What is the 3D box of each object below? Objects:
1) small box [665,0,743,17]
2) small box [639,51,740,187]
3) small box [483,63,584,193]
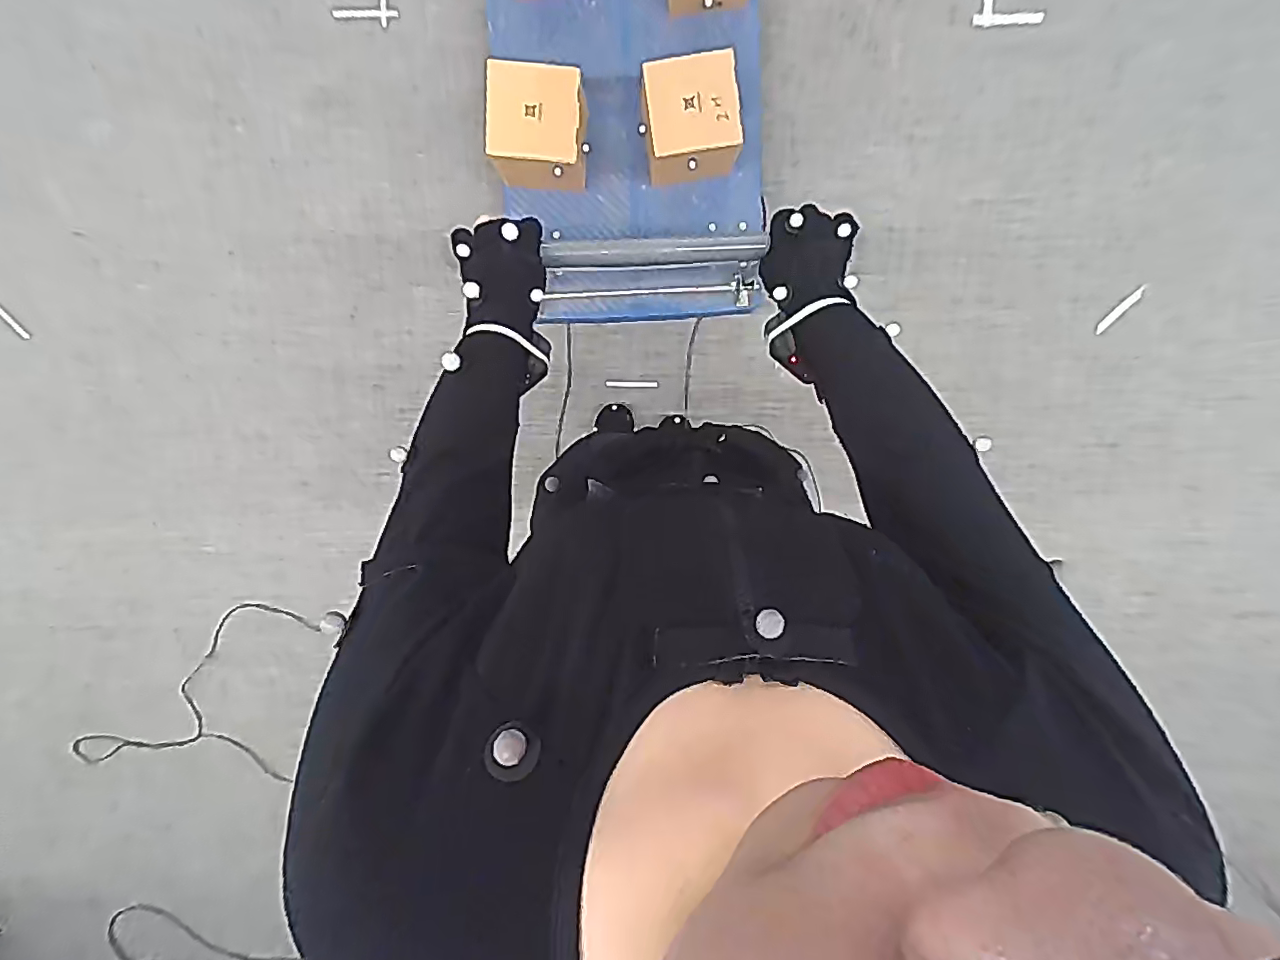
[{"bbox_3d":[0.128,-1.052,1.042,0.168,0.176,0.179,-7,101,0],"label":"small box"},{"bbox_3d":[0.095,-0.721,1.100,0.179,0.176,0.168,-9,100,1],"label":"small box"},{"bbox_3d":[-0.210,-0.703,1.098,0.179,0.176,0.168,3,100,-3],"label":"small box"}]
